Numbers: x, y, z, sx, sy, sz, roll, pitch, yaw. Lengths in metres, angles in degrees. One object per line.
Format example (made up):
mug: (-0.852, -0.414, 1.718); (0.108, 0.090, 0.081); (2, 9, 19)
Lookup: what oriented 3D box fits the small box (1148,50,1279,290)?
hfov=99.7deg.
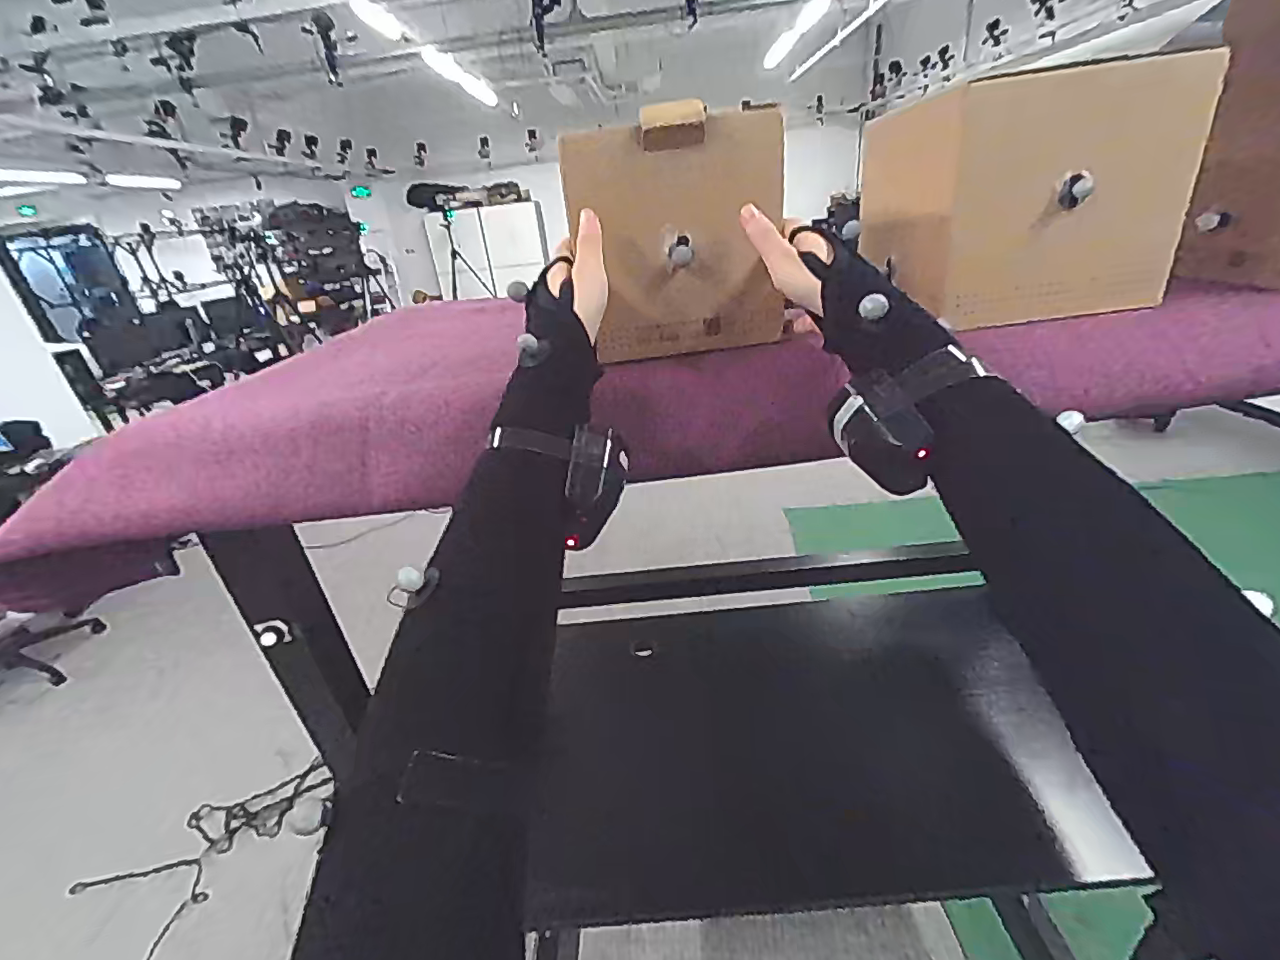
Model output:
small box: (0.583, -0.261, 0.440); (0.179, 0.176, 0.168); (-7, 26, 4)

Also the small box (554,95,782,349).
small box: (0.024, -0.218, 0.484); (0.168, 0.176, 0.179); (-6, 25, -1)
